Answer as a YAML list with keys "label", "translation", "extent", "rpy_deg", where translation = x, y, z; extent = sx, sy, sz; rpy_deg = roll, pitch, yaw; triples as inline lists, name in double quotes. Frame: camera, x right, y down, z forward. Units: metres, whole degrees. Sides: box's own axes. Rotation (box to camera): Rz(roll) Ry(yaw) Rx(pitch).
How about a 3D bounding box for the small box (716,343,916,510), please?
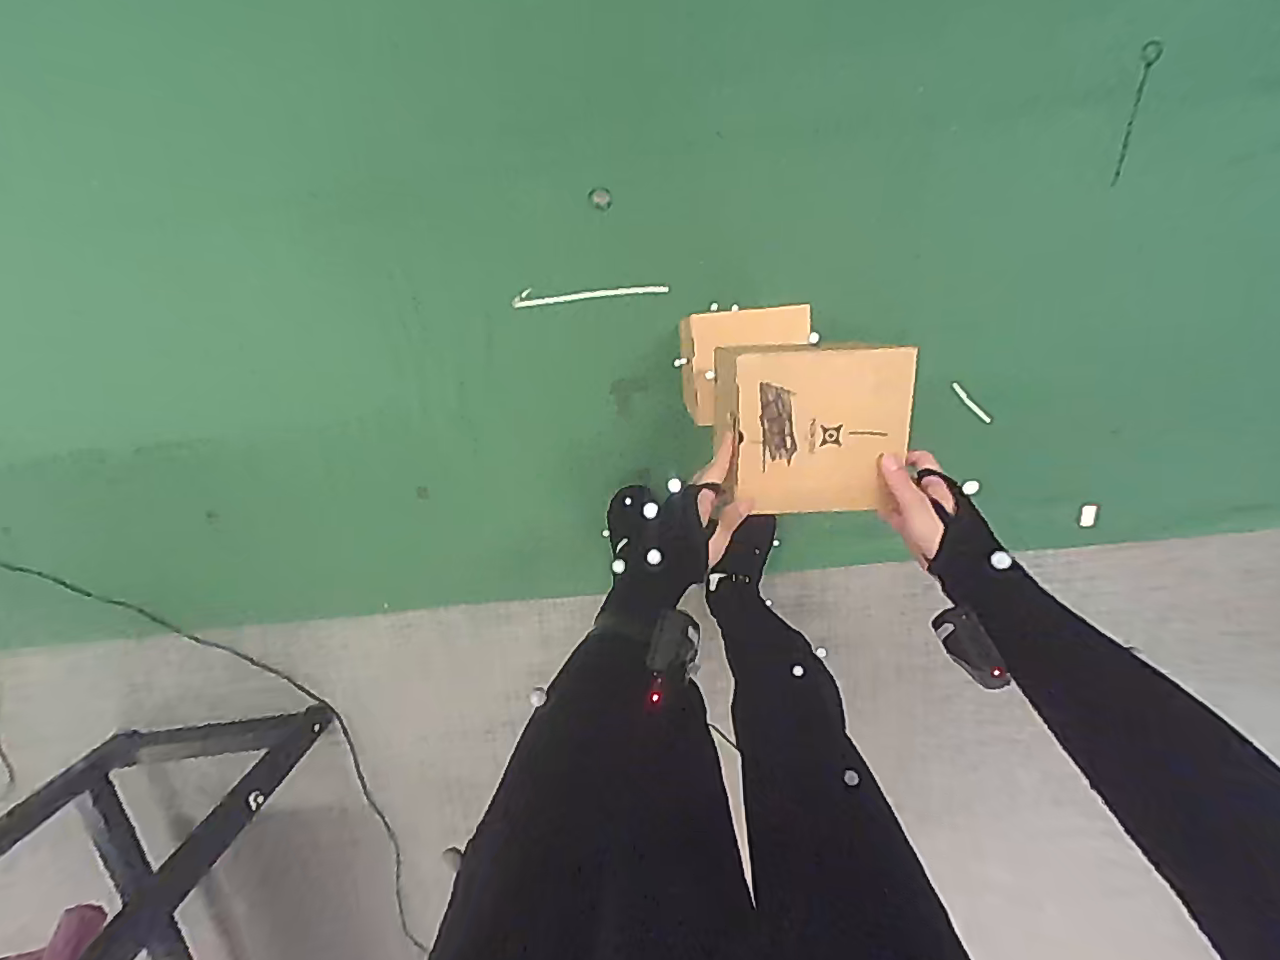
- label: "small box"
  translation: [0.183, -0.070, 0.621]
  extent: [0.179, 0.176, 0.168]
  rpy_deg: [-2, 106, 0]

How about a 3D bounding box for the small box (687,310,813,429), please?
- label: "small box"
  translation: [0.173, -0.184, 0.882]
  extent: [0.179, 0.176, 0.168]
  rpy_deg: [-5, 104, 3]
